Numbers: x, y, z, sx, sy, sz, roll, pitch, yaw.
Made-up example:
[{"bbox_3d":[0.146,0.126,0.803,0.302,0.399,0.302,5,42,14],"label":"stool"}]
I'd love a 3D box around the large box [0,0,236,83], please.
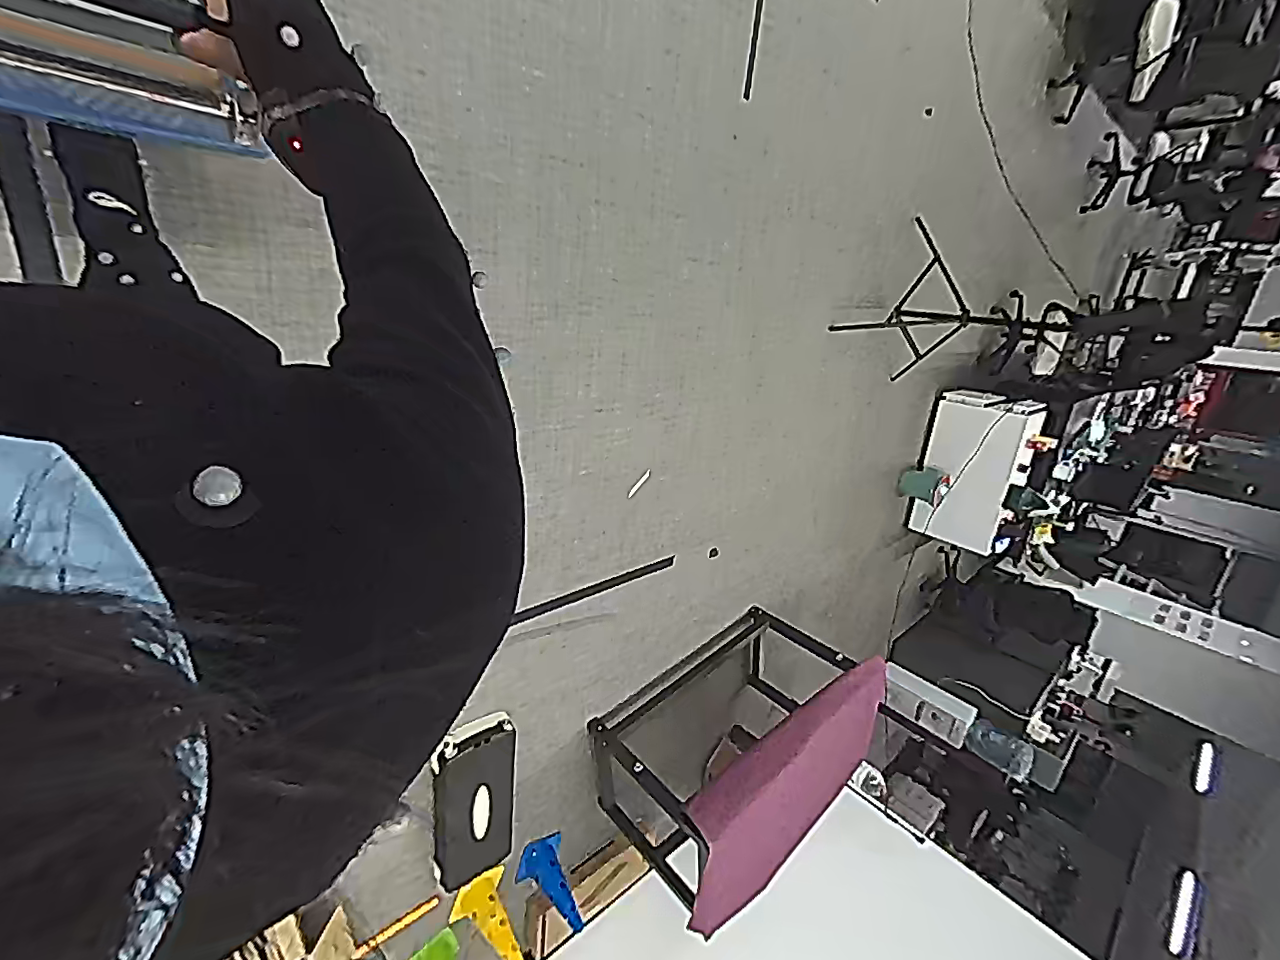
[{"bbox_3d":[-0.760,-0.732,0.628,0.408,0.320,0.320,-11,115,-41],"label":"large box"}]
